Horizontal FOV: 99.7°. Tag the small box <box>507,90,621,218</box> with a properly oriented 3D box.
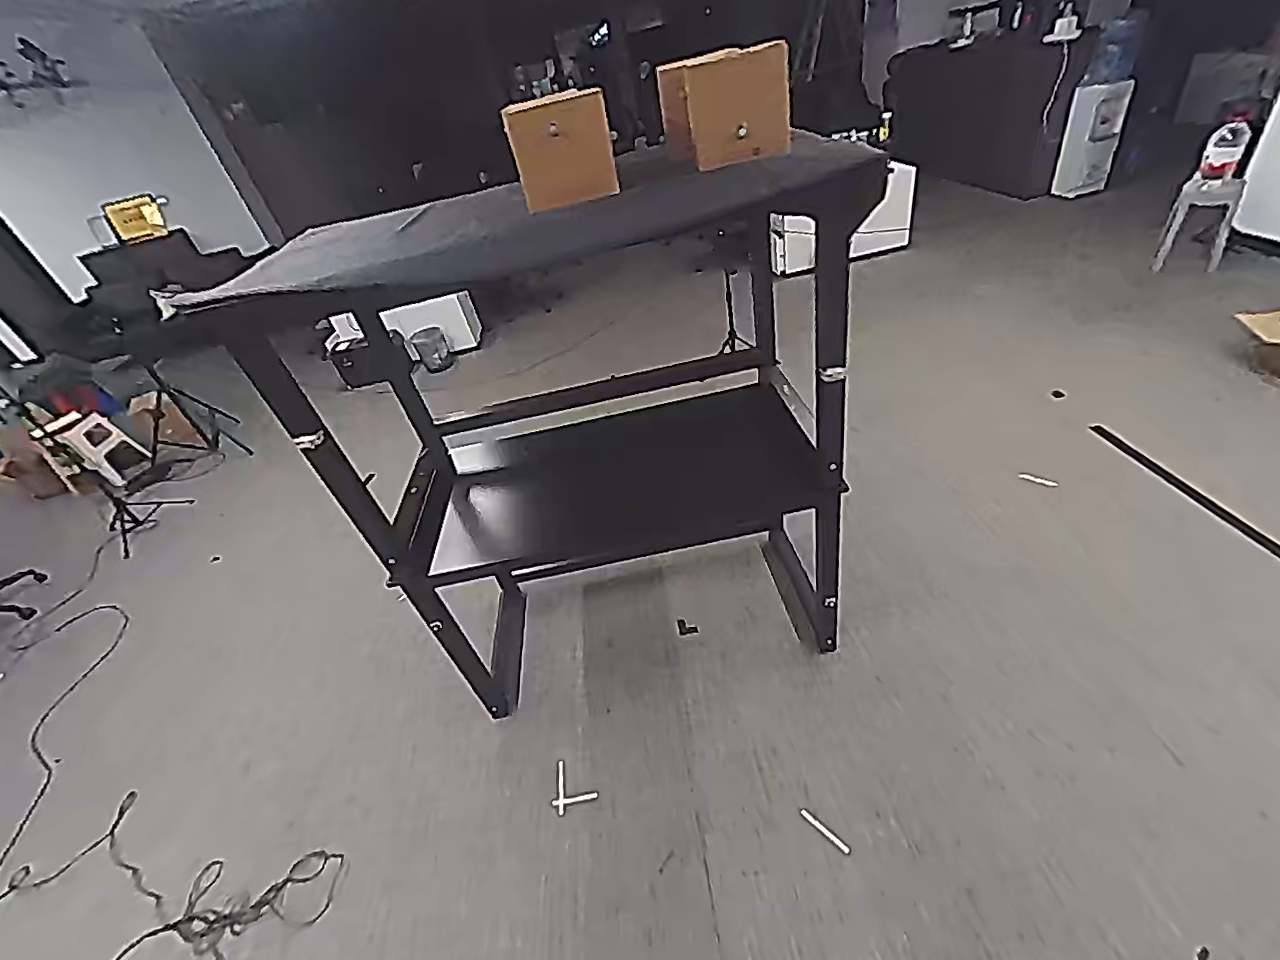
[{"bbox_3d":[-0.136,-0.624,1.035,0.179,0.176,0.168,-13,37,2],"label":"small box"}]

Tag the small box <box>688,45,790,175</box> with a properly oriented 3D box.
[{"bbox_3d":[0.182,-0.688,1.011,0.168,0.176,0.179,-8,38,8],"label":"small box"}]
